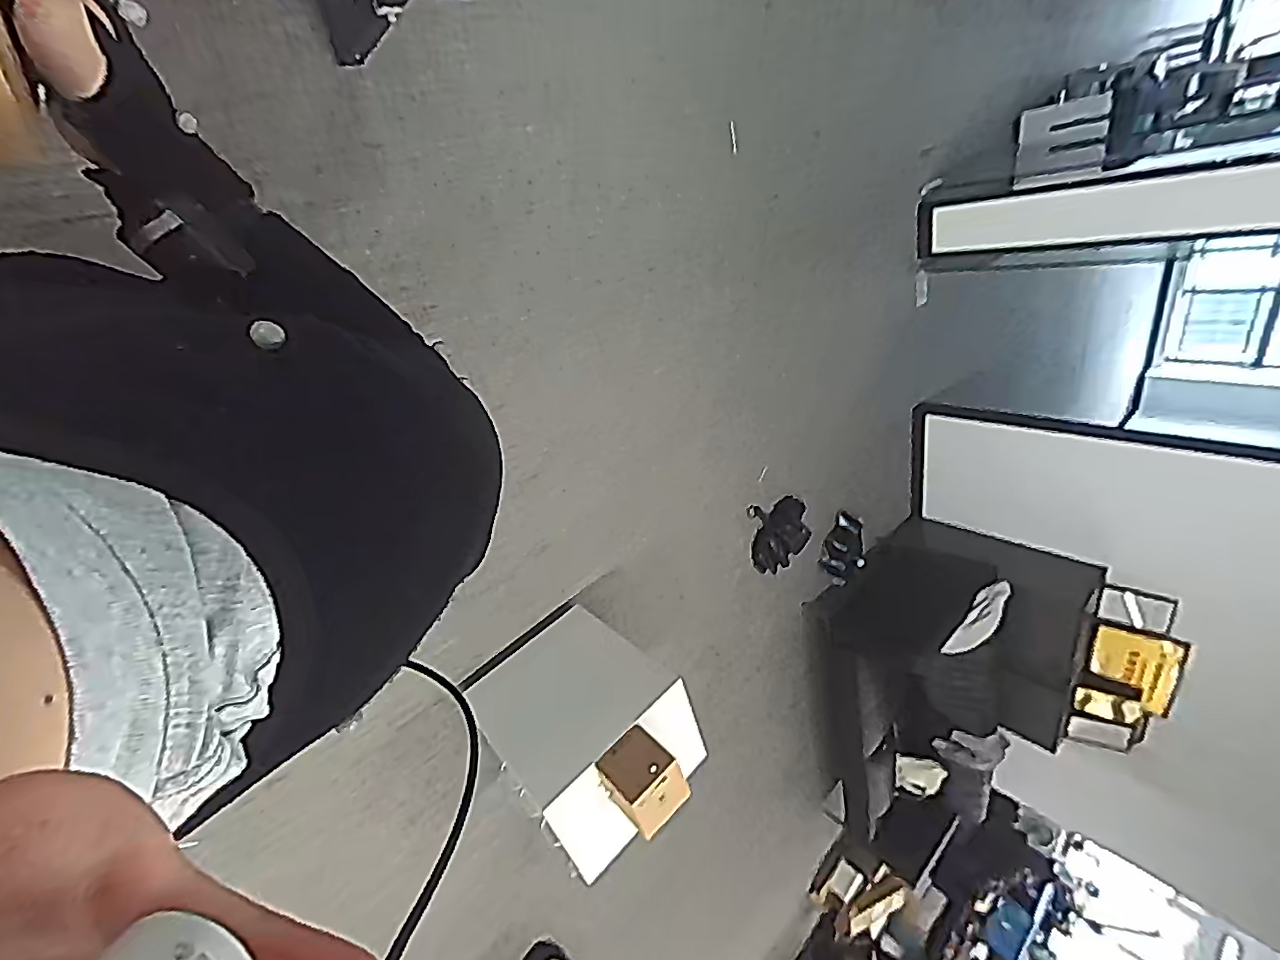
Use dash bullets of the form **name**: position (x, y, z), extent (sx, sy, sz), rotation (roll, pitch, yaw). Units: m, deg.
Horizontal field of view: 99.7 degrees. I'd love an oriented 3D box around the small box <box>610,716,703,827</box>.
- **small box**: position (0.044, 0.787, 1.477), extent (0.168, 0.176, 0.179), rotation (-36, 126, -28)
